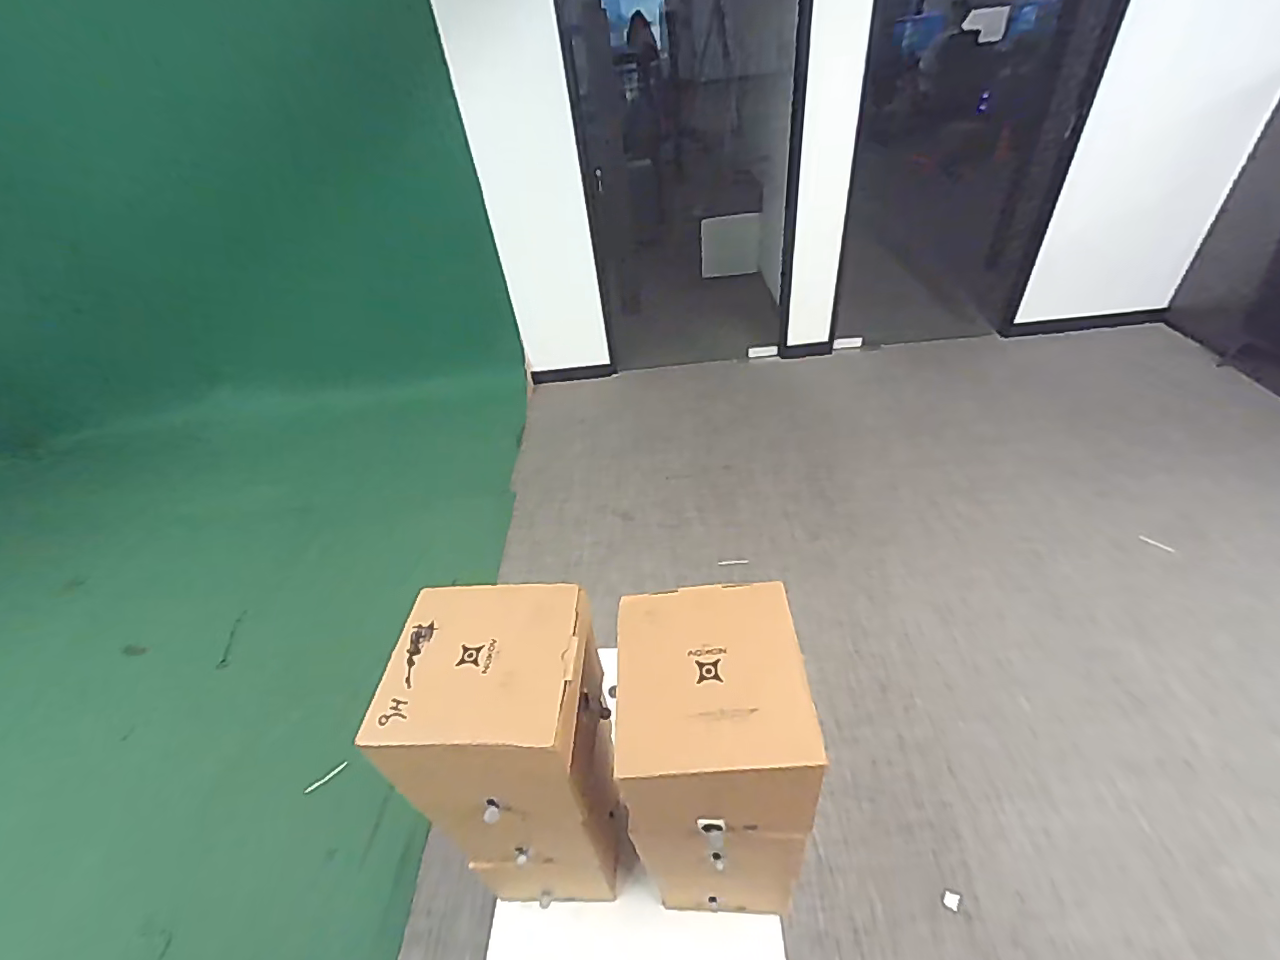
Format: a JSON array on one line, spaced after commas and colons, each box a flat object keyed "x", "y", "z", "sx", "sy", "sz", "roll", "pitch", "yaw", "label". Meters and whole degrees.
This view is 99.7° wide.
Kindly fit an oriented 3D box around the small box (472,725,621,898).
[{"x": -0.119, "y": 0.471, "z": 0.777, "sx": 0.168, "sy": 0.176, "sz": 0.179, "roll": -3, "pitch": 42, "yaw": 5, "label": "small box"}]

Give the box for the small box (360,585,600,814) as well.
[{"x": -0.141, "y": 0.226, "z": 0.560, "sx": 0.179, "sy": 0.176, "sz": 0.168, "roll": -1, "pitch": 41, "yaw": 5, "label": "small box"}]

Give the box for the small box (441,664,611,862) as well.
[{"x": -0.130, "y": 0.345, "z": 0.673, "sx": 0.168, "sy": 0.176, "sz": 0.179, "roll": -2, "pitch": 41, "yaw": 6, "label": "small box"}]

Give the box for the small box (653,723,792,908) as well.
[{"x": 0.111, "y": 0.463, "z": 0.751, "sx": 0.168, "sy": 0.176, "sz": 0.179, "roll": -3, "pitch": 41, "yaw": 7, "label": "small box"}]
